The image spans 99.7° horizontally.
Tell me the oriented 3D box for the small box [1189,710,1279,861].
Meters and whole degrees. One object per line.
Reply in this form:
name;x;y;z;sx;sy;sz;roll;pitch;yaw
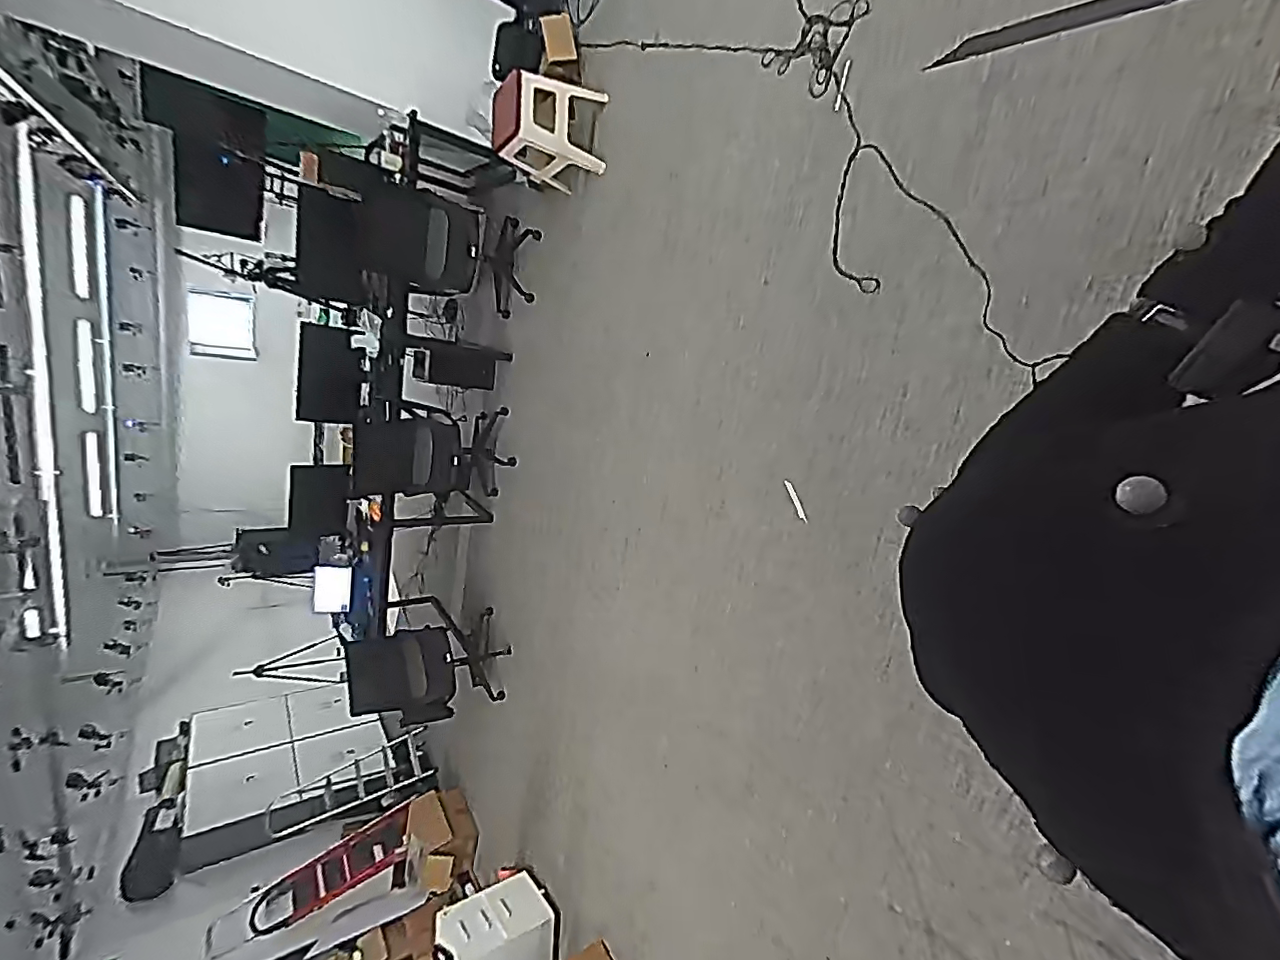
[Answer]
small box;1.123;0.539;0.947;0.168;0.176;0.179;32;115;49
